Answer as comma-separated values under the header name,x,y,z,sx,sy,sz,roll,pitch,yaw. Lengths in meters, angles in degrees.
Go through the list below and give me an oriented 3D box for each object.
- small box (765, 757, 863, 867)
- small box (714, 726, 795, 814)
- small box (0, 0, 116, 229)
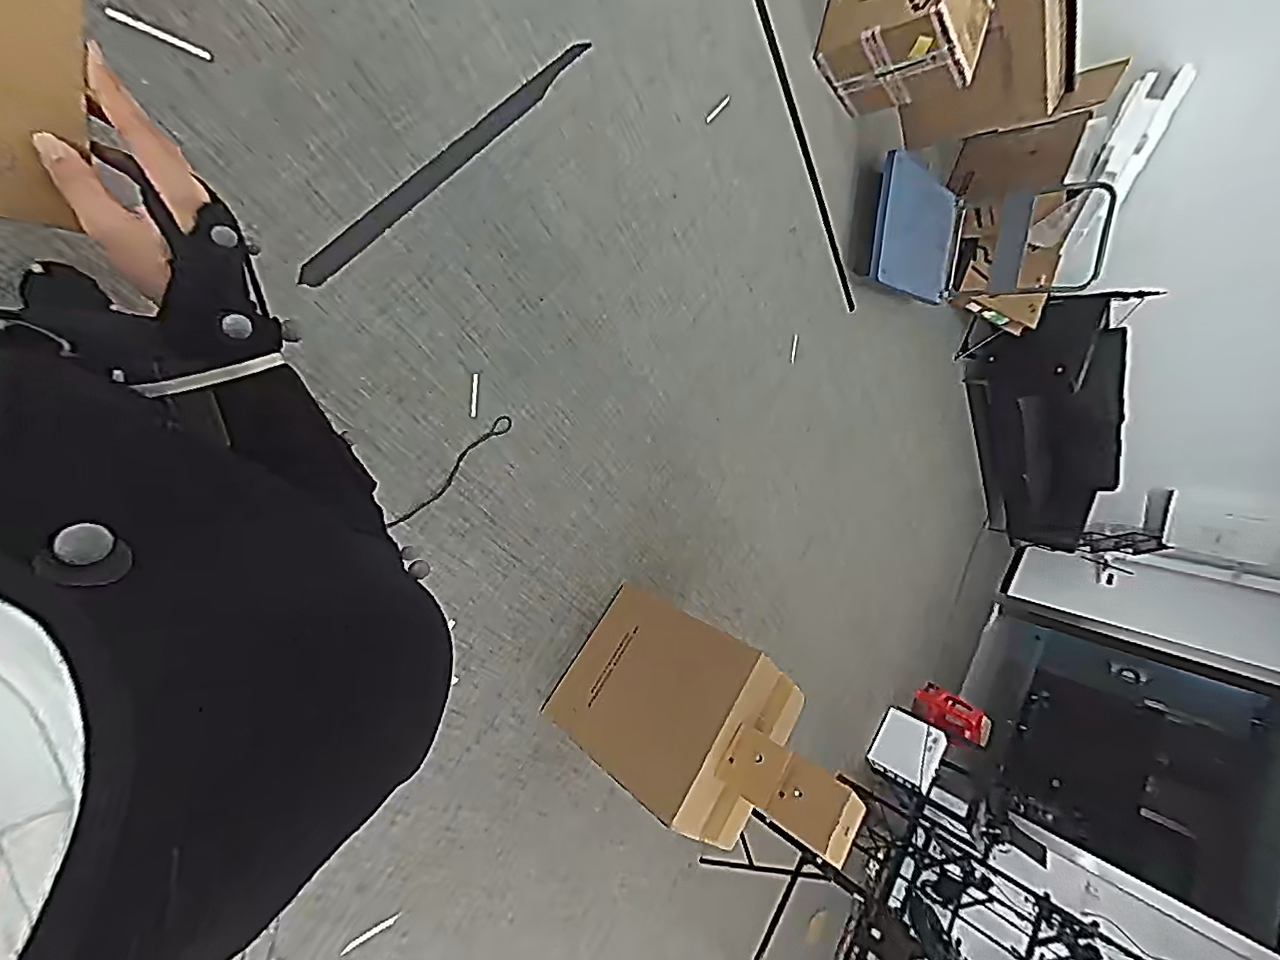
name,x,y,z,sx,sy,sz,roll,pitch,yaw
small box,0.452,0.856,1.404,0.168,0.176,0.179,-54,132,-22
small box,0.335,0.821,1.516,0.168,0.176,0.179,-55,132,-20
small box,-0.406,-0.253,0.290,0.168,0.176,0.179,-5,113,-48
